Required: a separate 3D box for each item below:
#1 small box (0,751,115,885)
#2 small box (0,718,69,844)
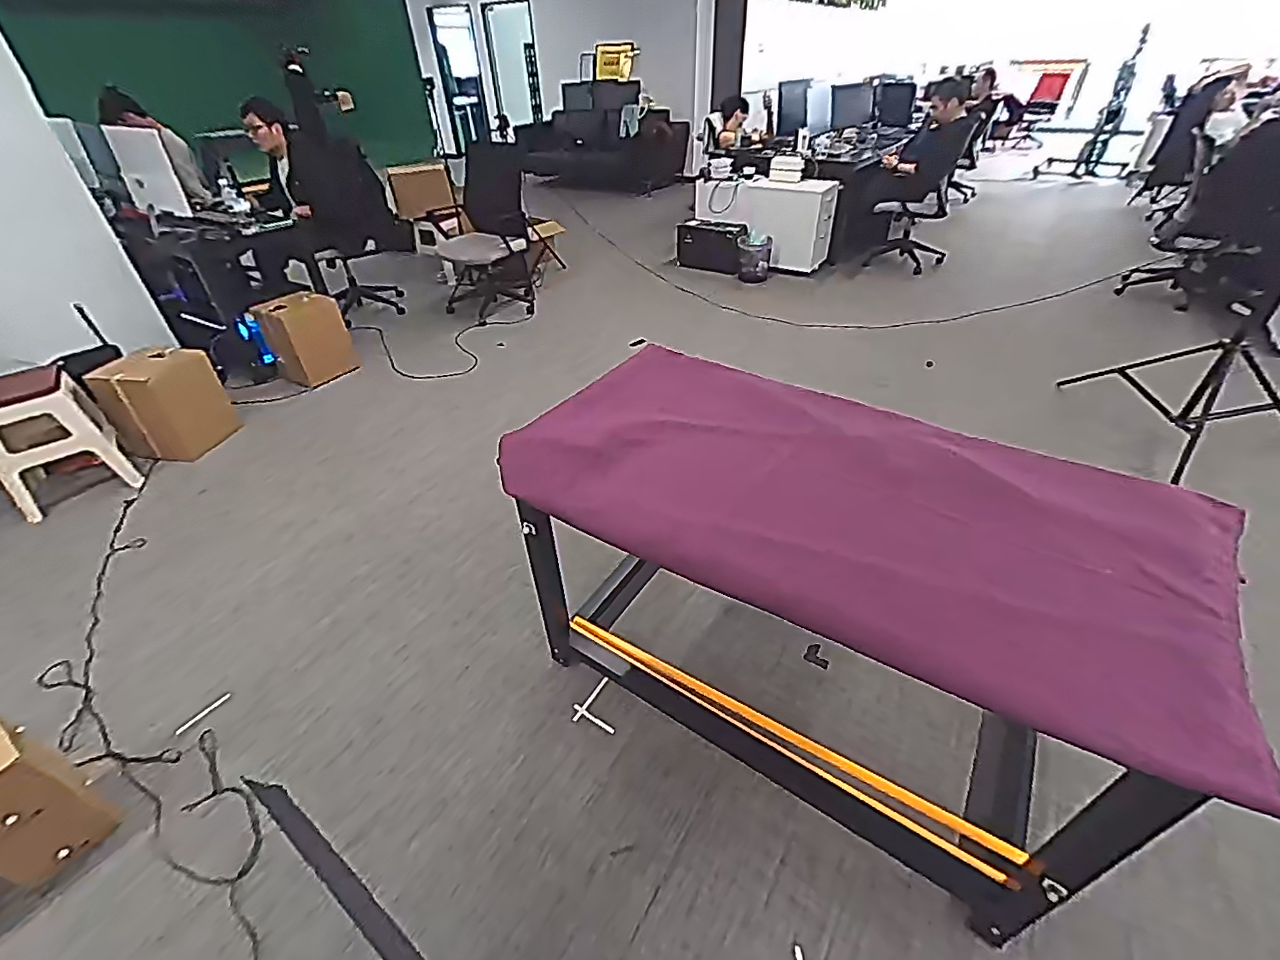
[{"bbox_3d":[-1.357,0.763,1.219,0.179,0.176,0.168,23,45,26],"label":"small box"},{"bbox_3d":[-1.359,0.633,1.117,0.179,0.176,0.168,21,44,25],"label":"small box"}]
